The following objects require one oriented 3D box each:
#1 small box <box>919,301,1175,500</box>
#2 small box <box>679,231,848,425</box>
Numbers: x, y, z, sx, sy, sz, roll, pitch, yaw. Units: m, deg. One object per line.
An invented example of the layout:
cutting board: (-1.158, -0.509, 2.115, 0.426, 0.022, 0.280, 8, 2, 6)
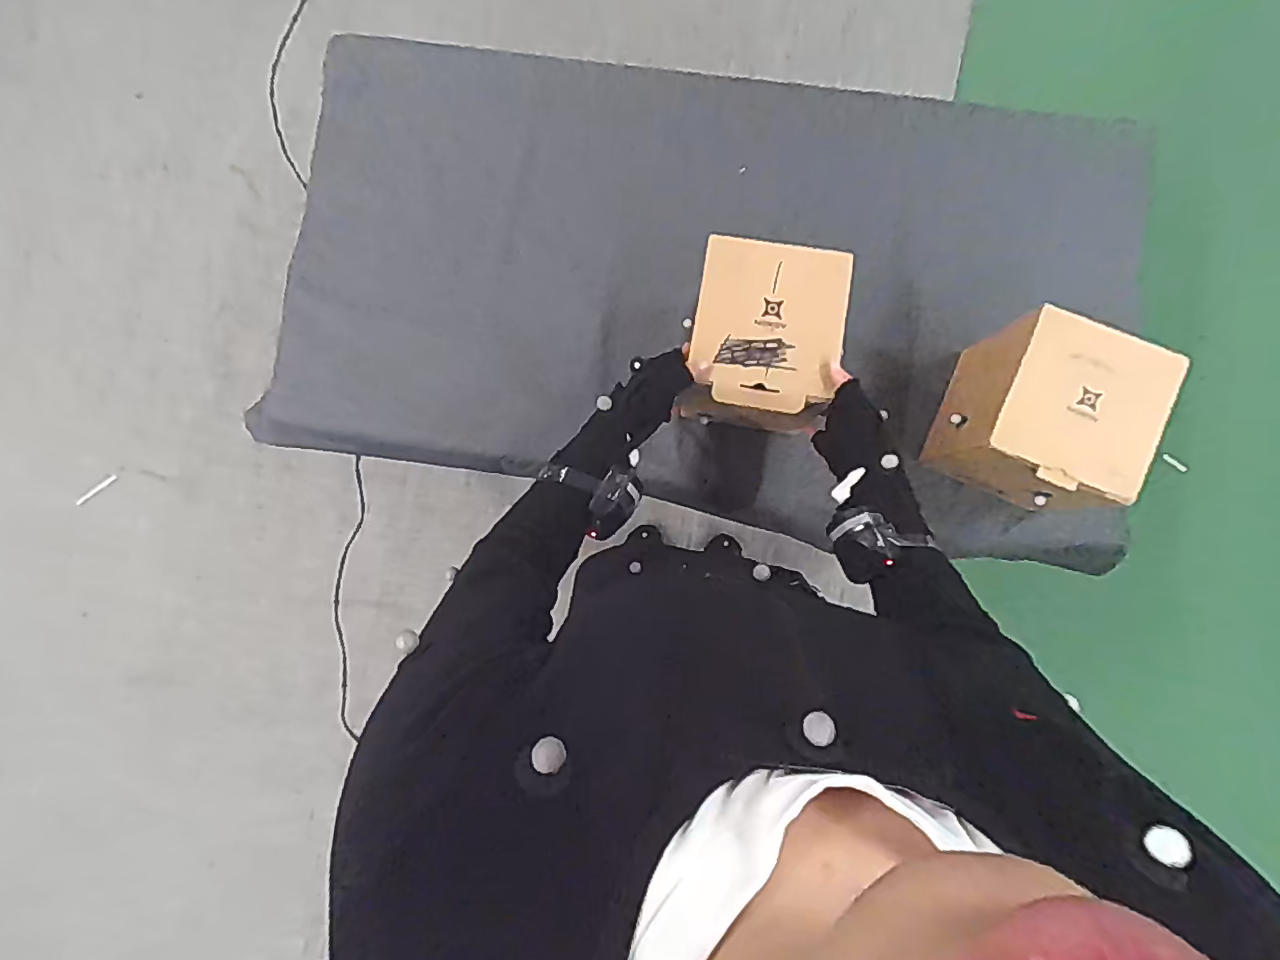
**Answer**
small box: (0.480, -0.083, 0.669, 0.168, 0.176, 0.179, 23, 86, 3)
small box: (0.143, -0.178, 0.680, 0.168, 0.176, 0.179, 9, 82, 4)
